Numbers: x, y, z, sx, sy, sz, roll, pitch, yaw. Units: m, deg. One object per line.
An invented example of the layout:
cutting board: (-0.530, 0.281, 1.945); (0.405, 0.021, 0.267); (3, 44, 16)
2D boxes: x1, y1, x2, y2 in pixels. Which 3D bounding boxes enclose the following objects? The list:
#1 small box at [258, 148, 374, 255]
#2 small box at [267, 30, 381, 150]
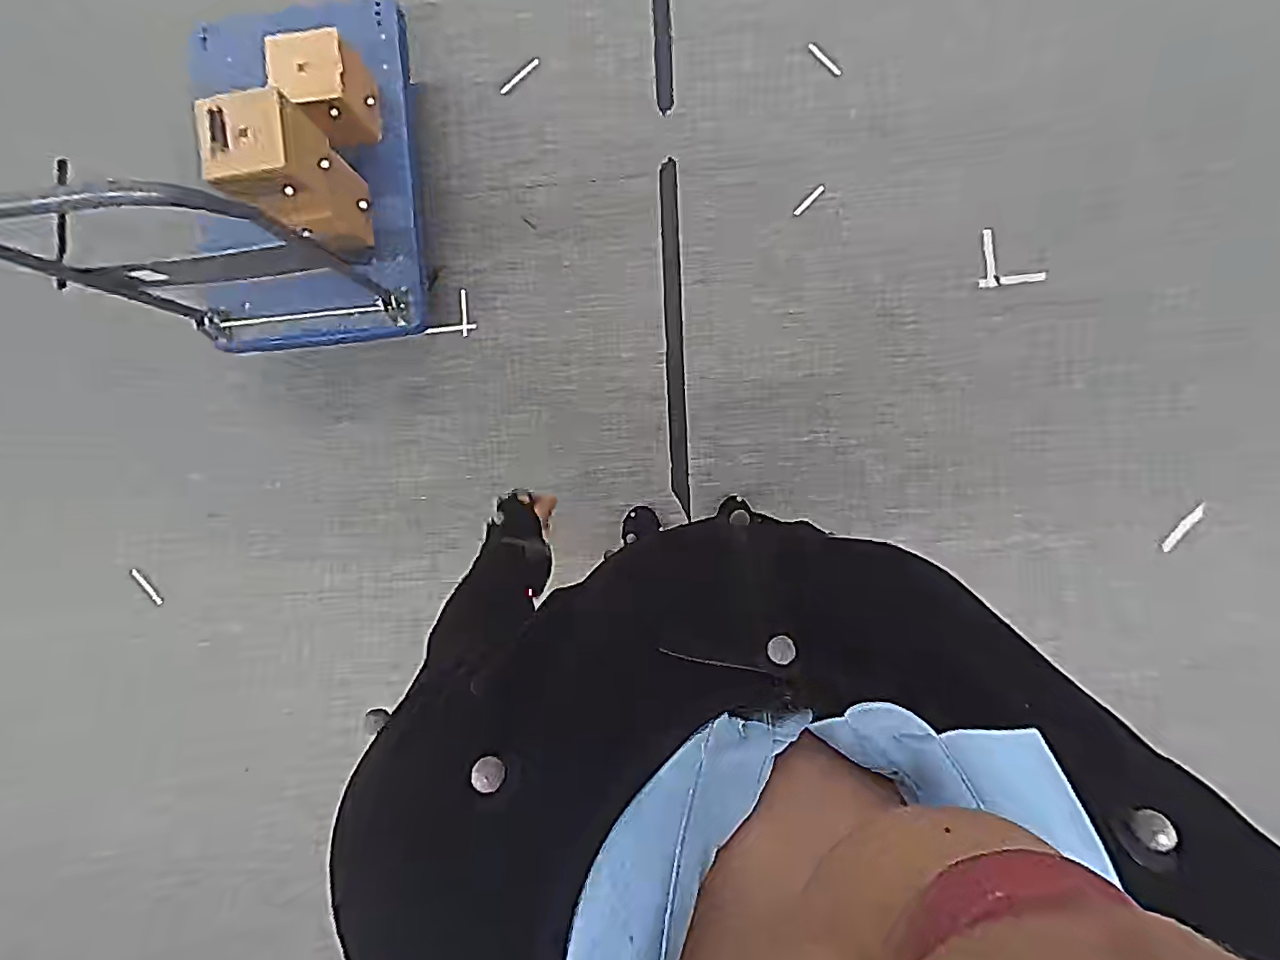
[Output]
small box: (-0.780, -0.666, 1.314); (0.179, 0.176, 0.168); (-6, 89, 4)
small box: (-0.763, -0.938, 1.318); (0.179, 0.176, 0.168); (-5, 89, 4)
